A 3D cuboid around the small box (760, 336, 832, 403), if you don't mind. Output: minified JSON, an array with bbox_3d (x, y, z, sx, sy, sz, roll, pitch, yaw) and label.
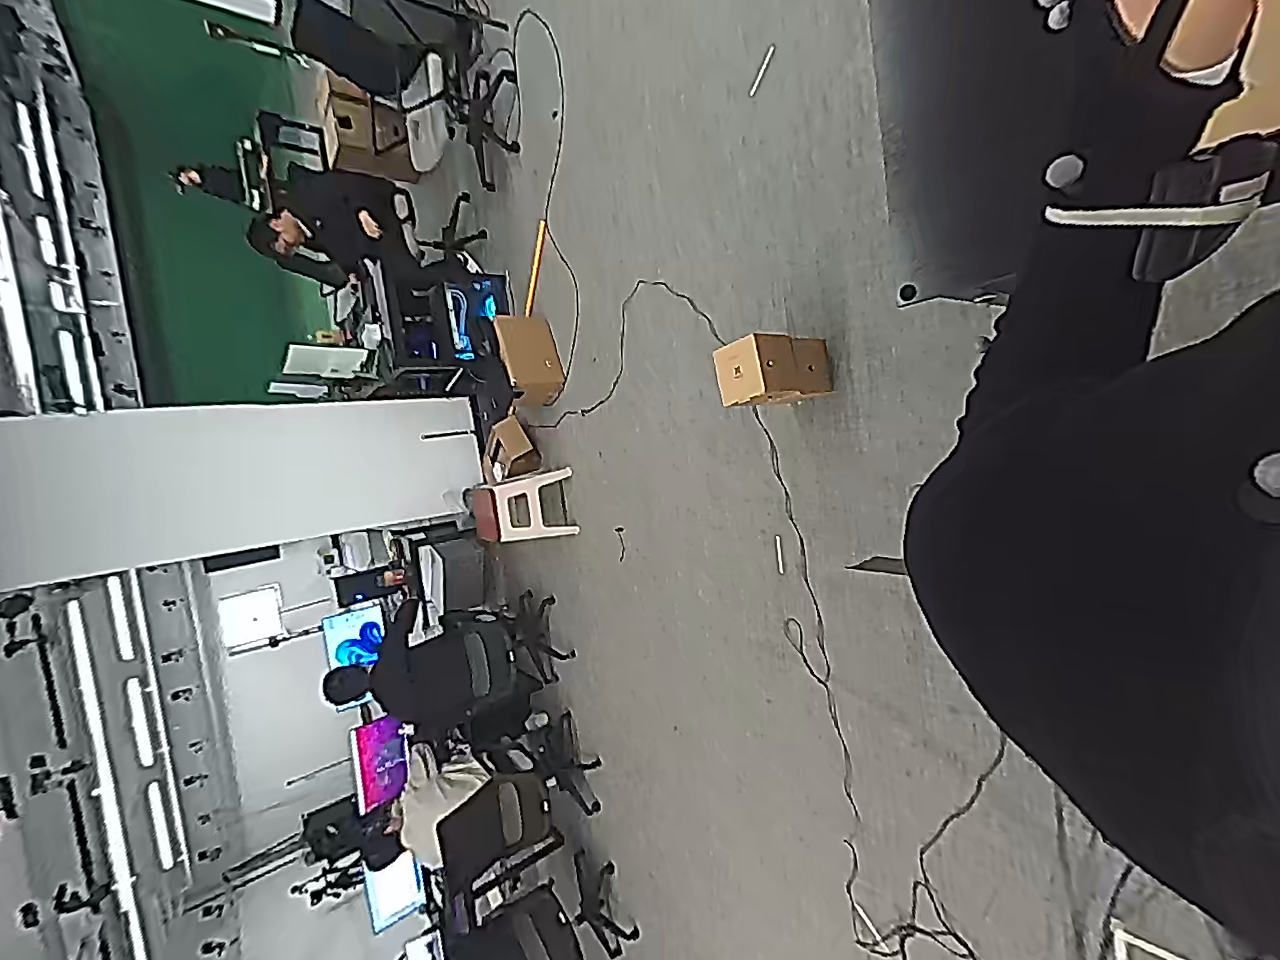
[{"bbox_3d":[0.484,-0.346,1.714,0.168,0.176,0.179,-9,91,53],"label":"small box"}]

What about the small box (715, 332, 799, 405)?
[{"bbox_3d":[0.354,-0.330,1.616,0.168,0.176,0.179,-13,87,53],"label":"small box"}]
